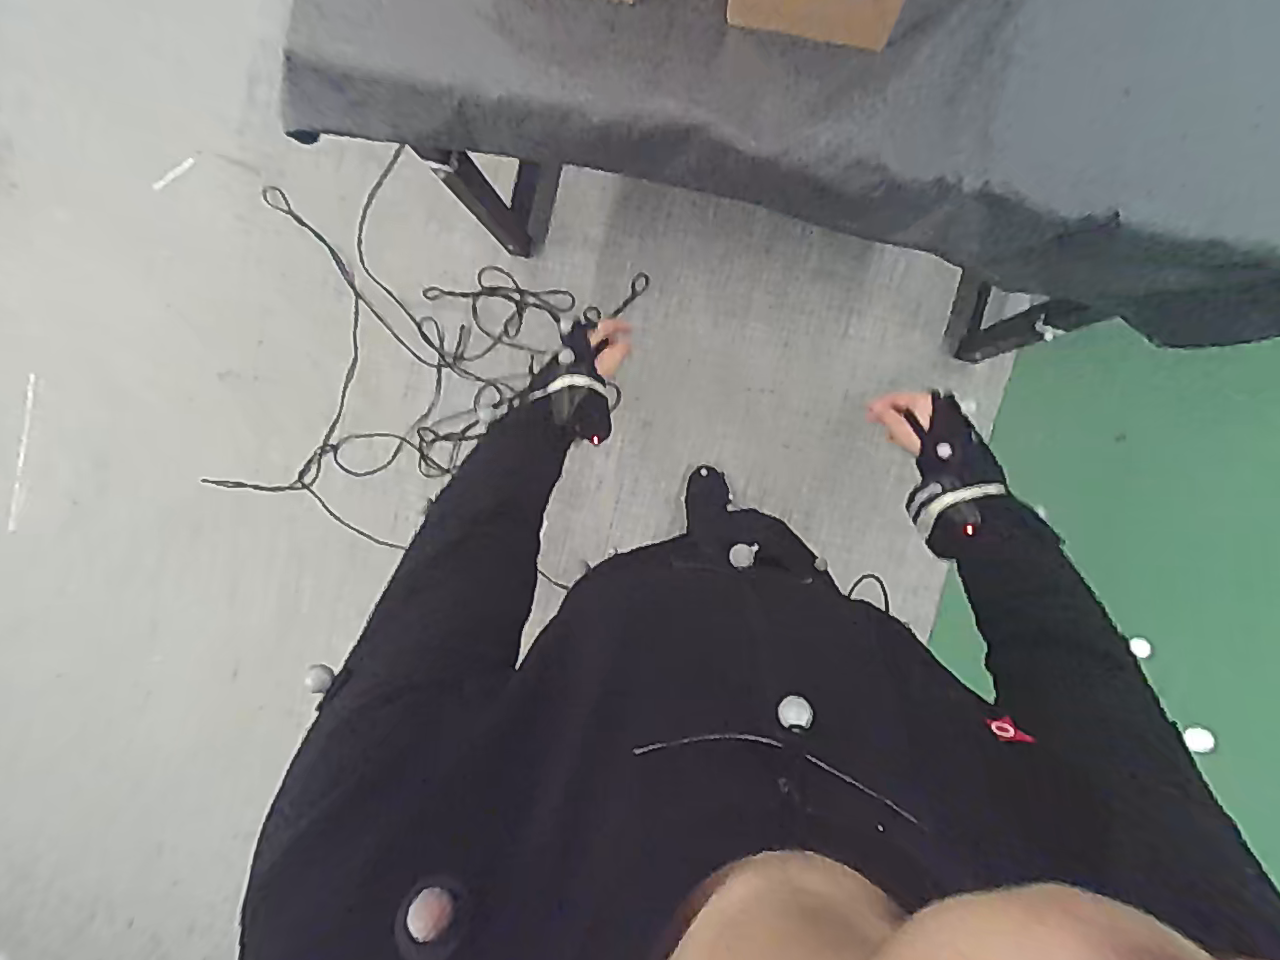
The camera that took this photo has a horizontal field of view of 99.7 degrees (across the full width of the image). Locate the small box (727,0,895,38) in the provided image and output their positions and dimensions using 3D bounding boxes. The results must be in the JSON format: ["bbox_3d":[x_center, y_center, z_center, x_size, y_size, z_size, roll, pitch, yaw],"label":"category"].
[{"bbox_3d":[0.188,-0.567,0.508,0.179,0.176,0.168,14,93,6],"label":"small box"}]

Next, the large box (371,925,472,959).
[{"bbox_3d":[-0.564,1.448,1.352,0.408,0.320,0.320,21,94,6],"label":"large box"}]
